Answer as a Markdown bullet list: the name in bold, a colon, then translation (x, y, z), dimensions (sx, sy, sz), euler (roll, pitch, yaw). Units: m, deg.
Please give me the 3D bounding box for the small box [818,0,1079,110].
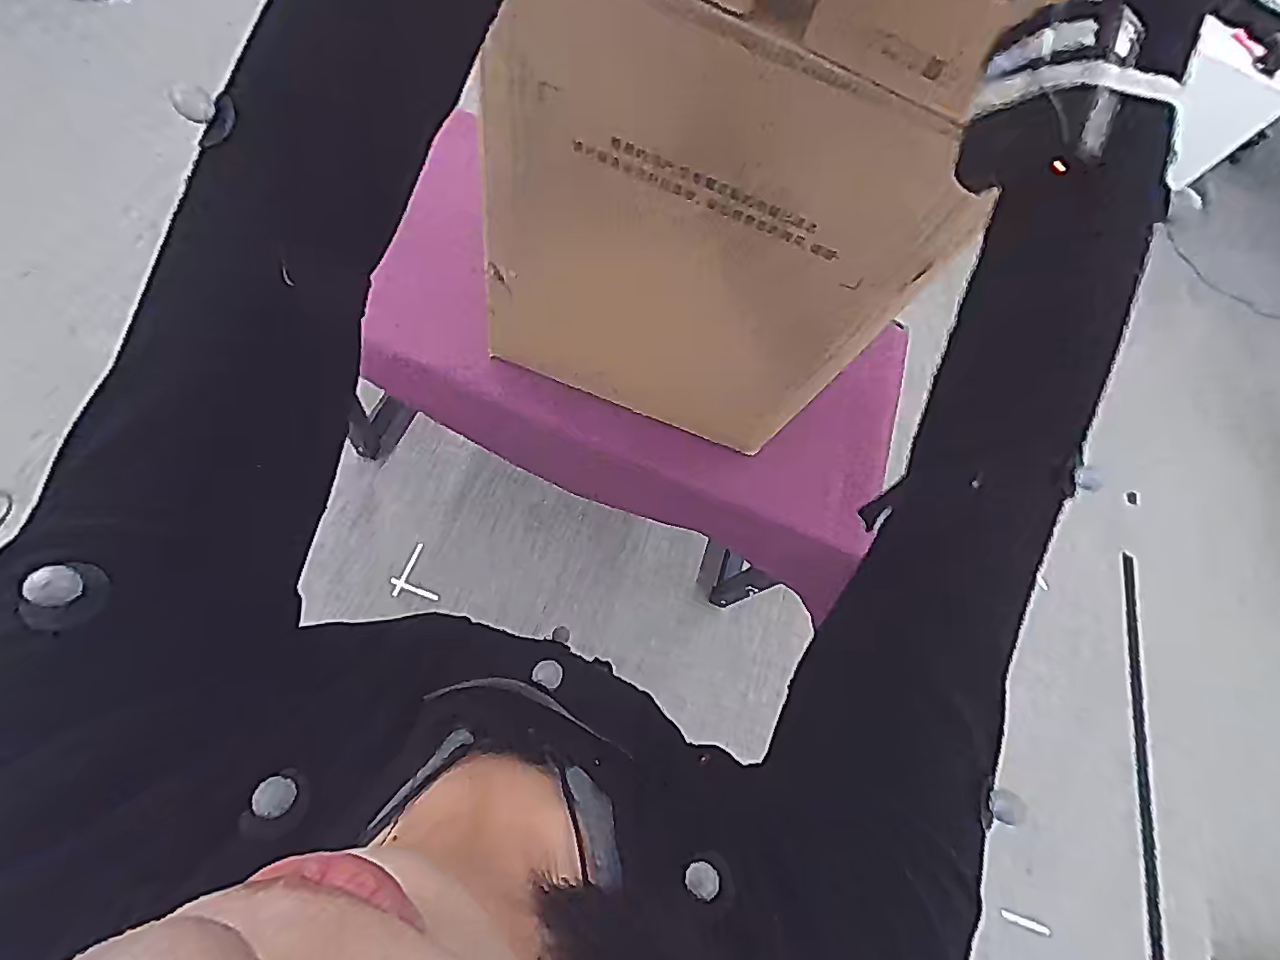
- **small box**: translation (0.255, -0.423, 0.398), dimensions (0.168, 0.176, 0.179), euler (25, 63, -3)
